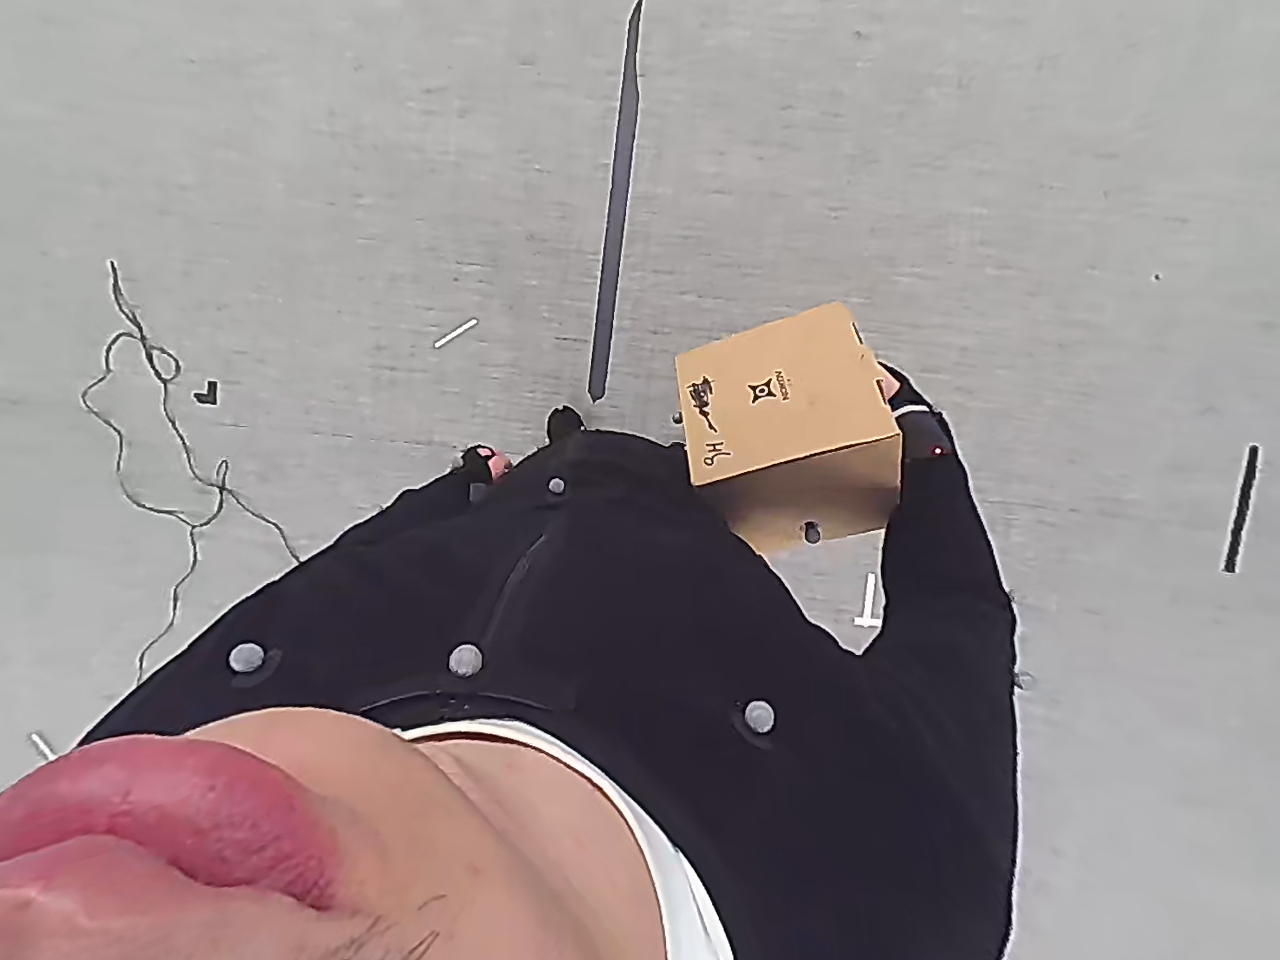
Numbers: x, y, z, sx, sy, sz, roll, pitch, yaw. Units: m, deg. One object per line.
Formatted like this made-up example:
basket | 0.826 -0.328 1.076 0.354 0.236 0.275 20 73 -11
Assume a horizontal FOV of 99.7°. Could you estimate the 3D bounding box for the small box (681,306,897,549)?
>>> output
small box | 0.155 -0.045 0.573 0.179 0.176 0.168 -14 54 16
